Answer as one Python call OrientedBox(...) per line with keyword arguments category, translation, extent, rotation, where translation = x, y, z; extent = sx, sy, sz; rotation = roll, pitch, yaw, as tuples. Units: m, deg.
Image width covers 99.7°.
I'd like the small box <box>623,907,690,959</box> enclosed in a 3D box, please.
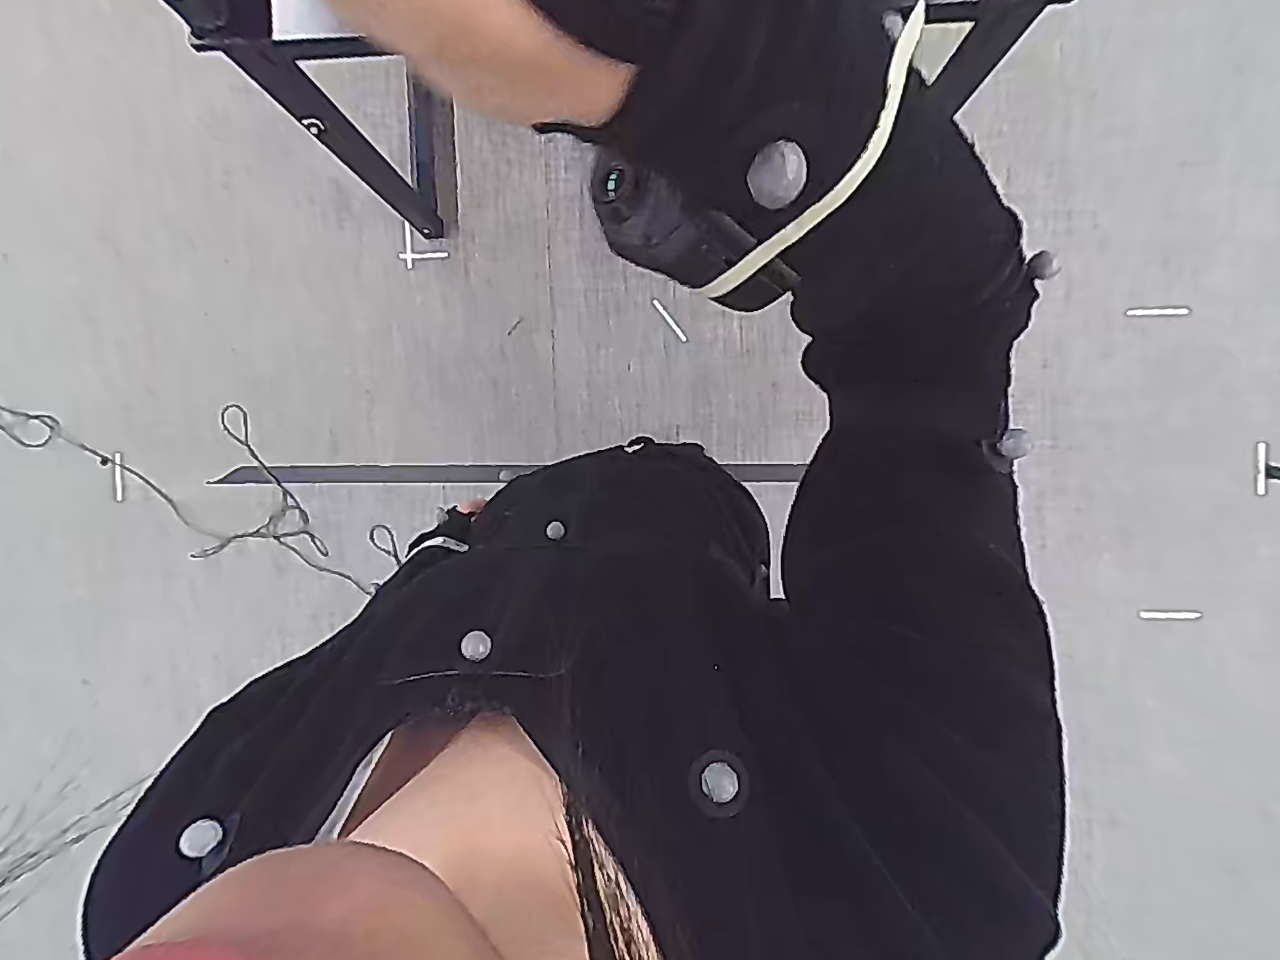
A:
OrientedBox(category="small box", translation=(0.046, 1.284, 1.440), extent=(0.168, 0.176, 0.179), rotation=(-10, 92, 2))
